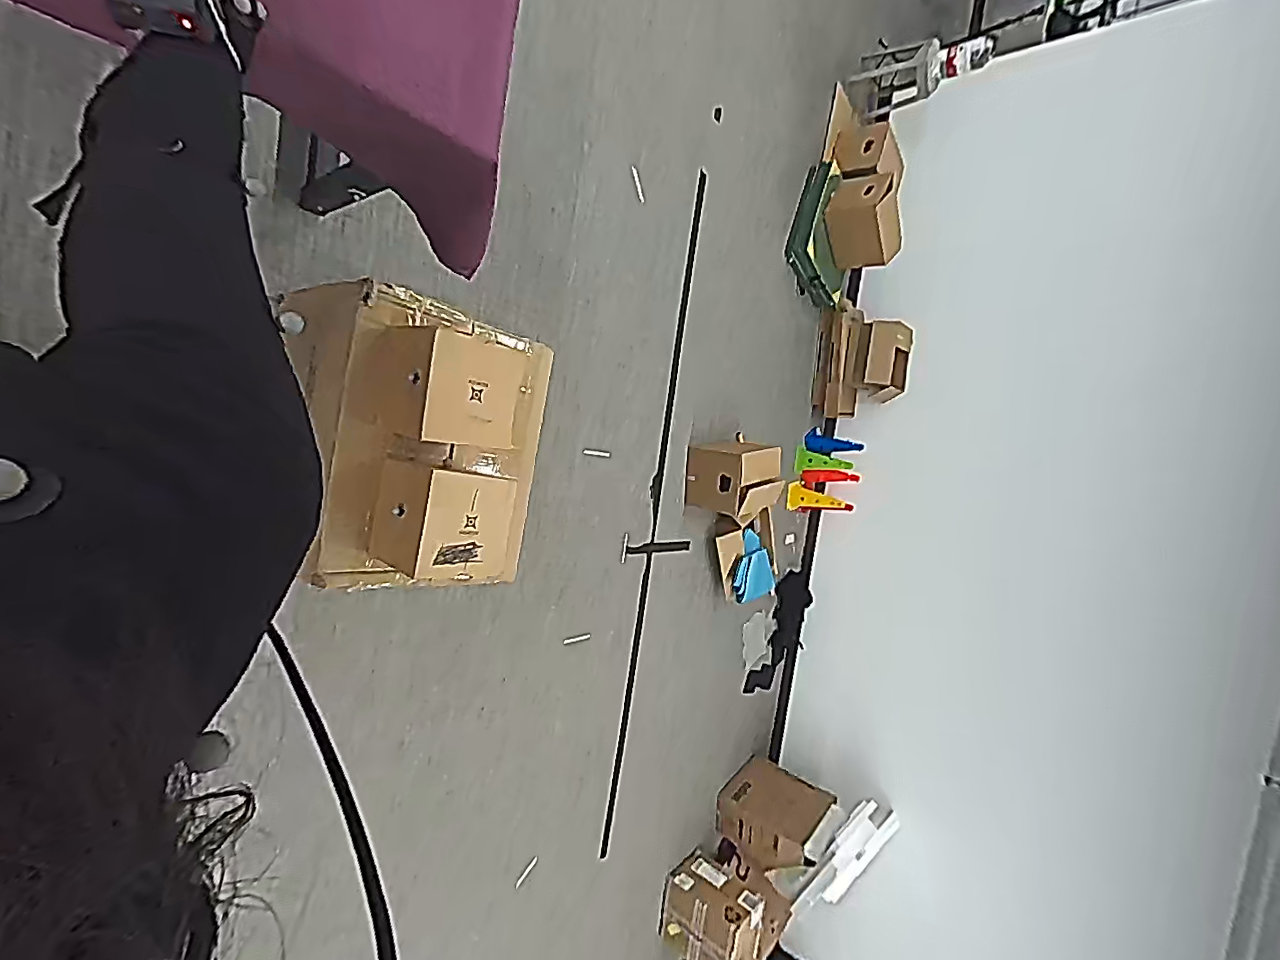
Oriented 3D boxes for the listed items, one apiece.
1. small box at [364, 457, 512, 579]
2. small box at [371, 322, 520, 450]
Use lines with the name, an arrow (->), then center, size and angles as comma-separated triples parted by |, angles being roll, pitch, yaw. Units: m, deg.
small box -> -0.352, 0.065, 0.935 | 0.168, 0.176, 0.179 | 11, 88, -51
small box -> -0.330, -0.156, 0.911 | 0.168, 0.176, 0.179 | 6, 96, -50
